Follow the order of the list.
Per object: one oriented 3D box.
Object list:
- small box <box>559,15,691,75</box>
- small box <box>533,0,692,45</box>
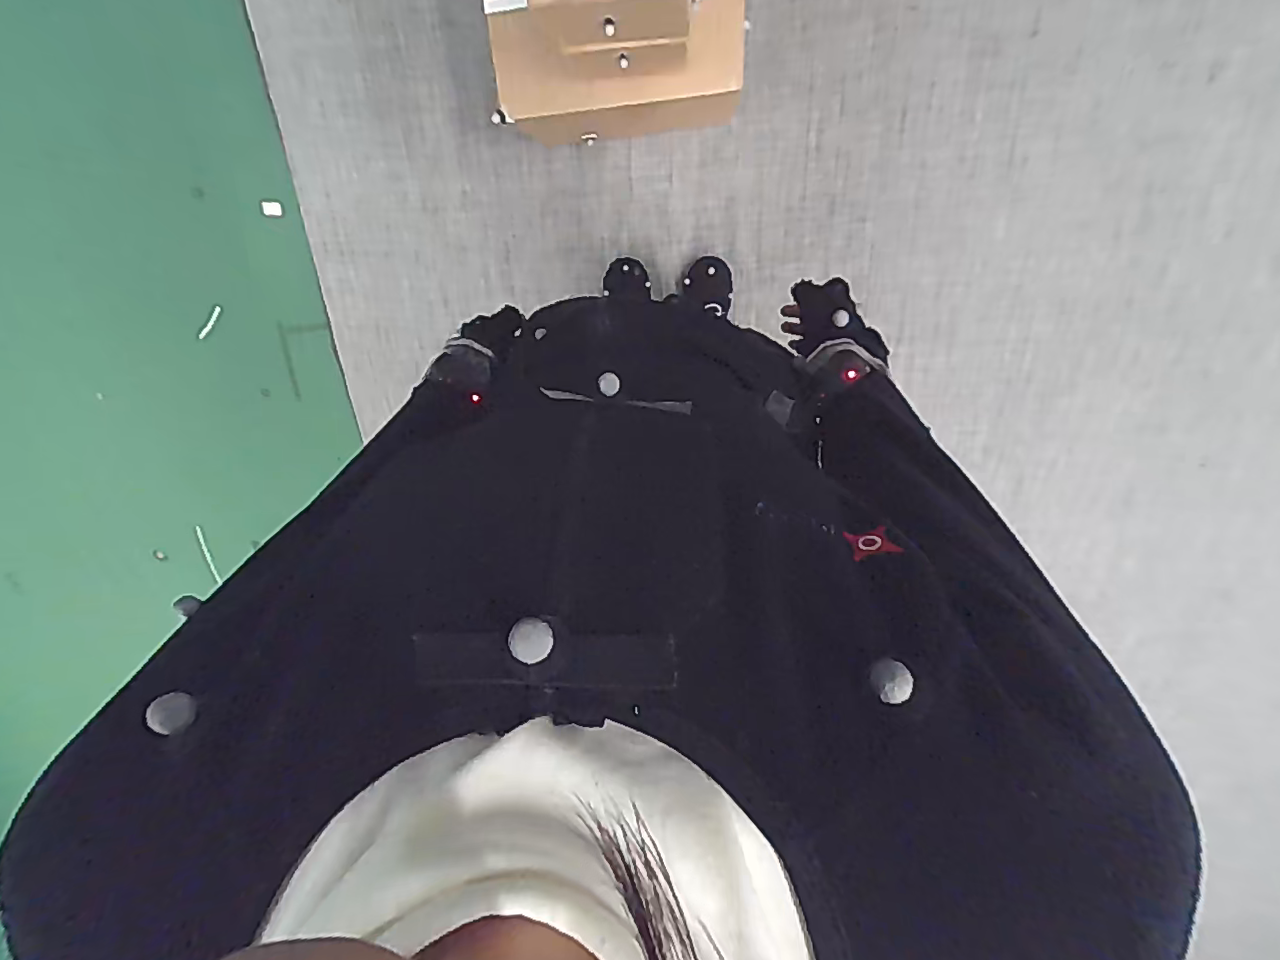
[{"bbox_3d":[-0.018,-0.692,0.760,0.179,0.176,0.168,-1,116,6],"label":"small box"},{"bbox_3d":[-0.028,-0.622,0.612,0.179,0.176,0.168,-2,116,7],"label":"small box"}]
